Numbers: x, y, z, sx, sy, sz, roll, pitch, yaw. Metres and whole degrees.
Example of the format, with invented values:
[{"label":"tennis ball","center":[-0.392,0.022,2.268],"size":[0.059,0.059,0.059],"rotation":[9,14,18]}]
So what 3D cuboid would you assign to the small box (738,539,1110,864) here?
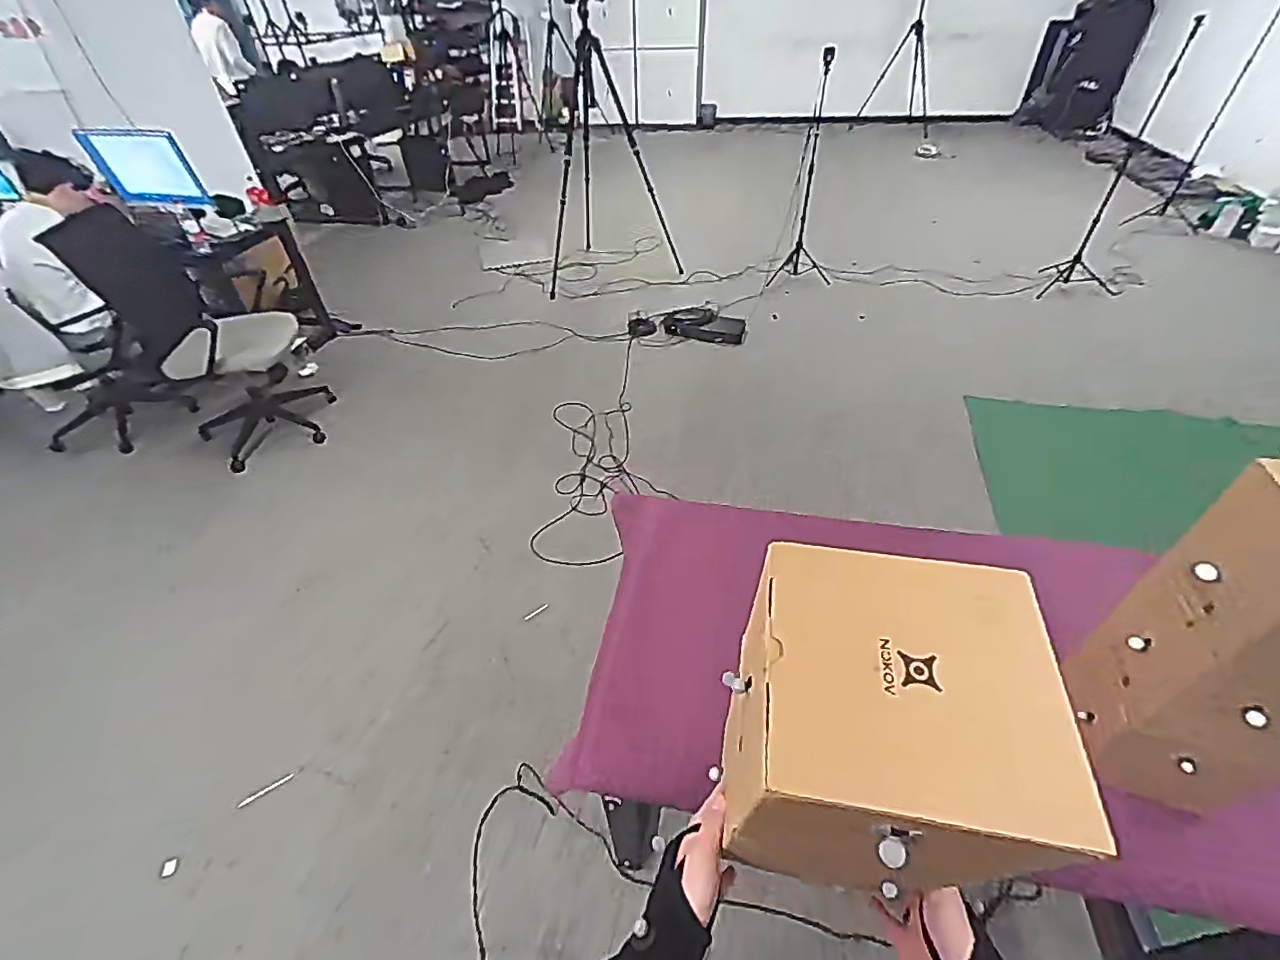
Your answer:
[{"label":"small box","center":[0.172,0.165,0.395],"size":[0.179,0.176,0.168],"rotation":[6,51,9]}]

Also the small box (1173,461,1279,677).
[{"label":"small box","center":[0.737,0.108,0.567],"size":[0.179,0.176,0.168],"rotation":[10,44,15]}]

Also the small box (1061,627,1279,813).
[{"label":"small box","center":[0.746,0.350,0.788],"size":[0.179,0.176,0.168],"rotation":[14,45,17]}]

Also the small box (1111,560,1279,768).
[{"label":"small box","center":[0.740,0.230,0.677],"size":[0.179,0.176,0.168],"rotation":[11,45,16]}]

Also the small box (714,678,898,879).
[{"label":"small box","center":[0.190,0.364,0.655],"size":[0.179,0.176,0.168],"rotation":[7,51,10]}]
